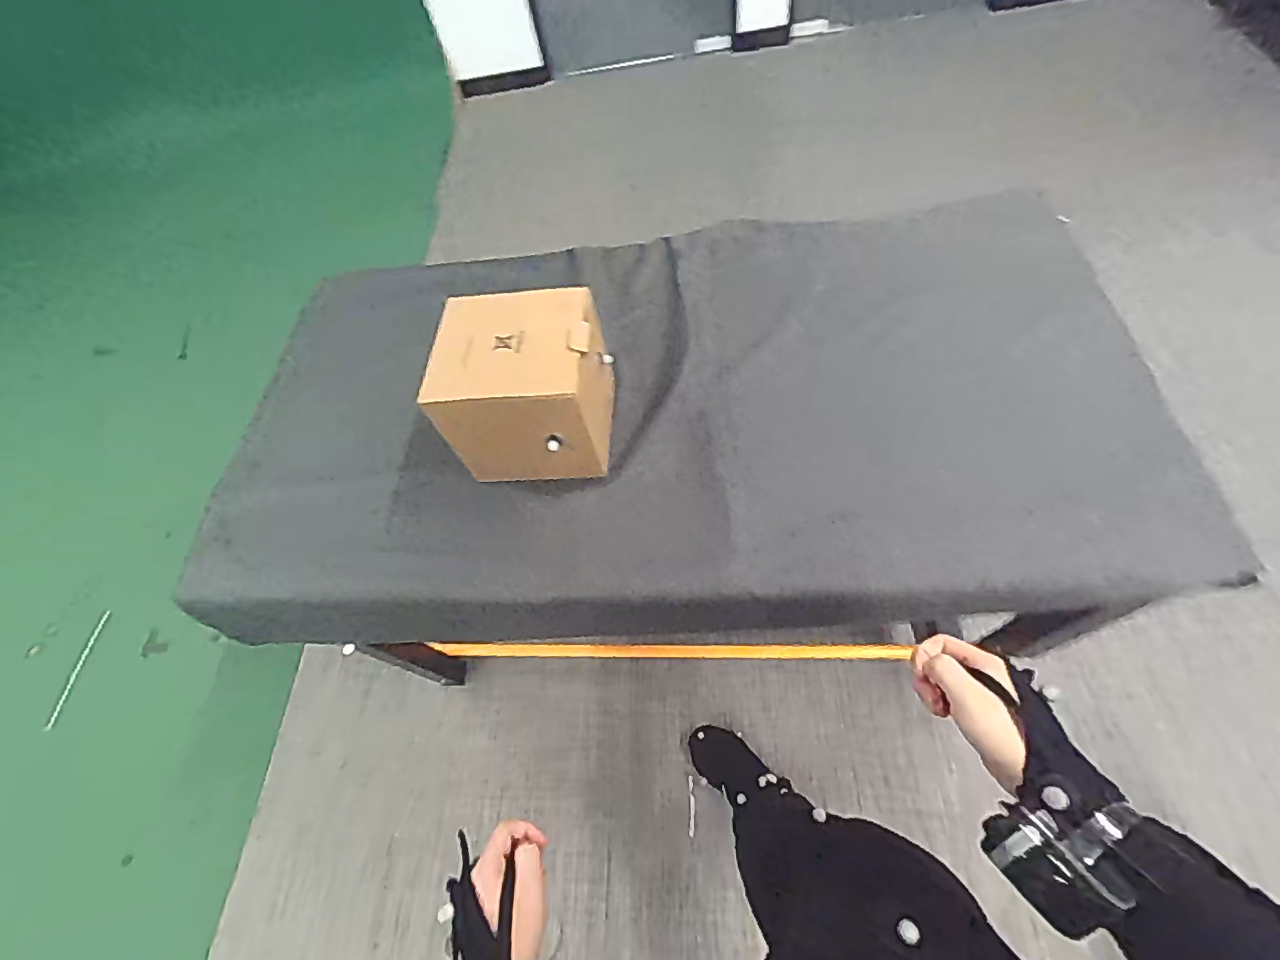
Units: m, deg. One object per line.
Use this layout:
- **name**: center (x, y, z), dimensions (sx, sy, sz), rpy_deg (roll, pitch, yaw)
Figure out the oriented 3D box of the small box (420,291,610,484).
- **small box**: center (-0.137, -0.108, 0.674), dimensions (0.179, 0.176, 0.168), rpy_deg (-3, 57, 8)
